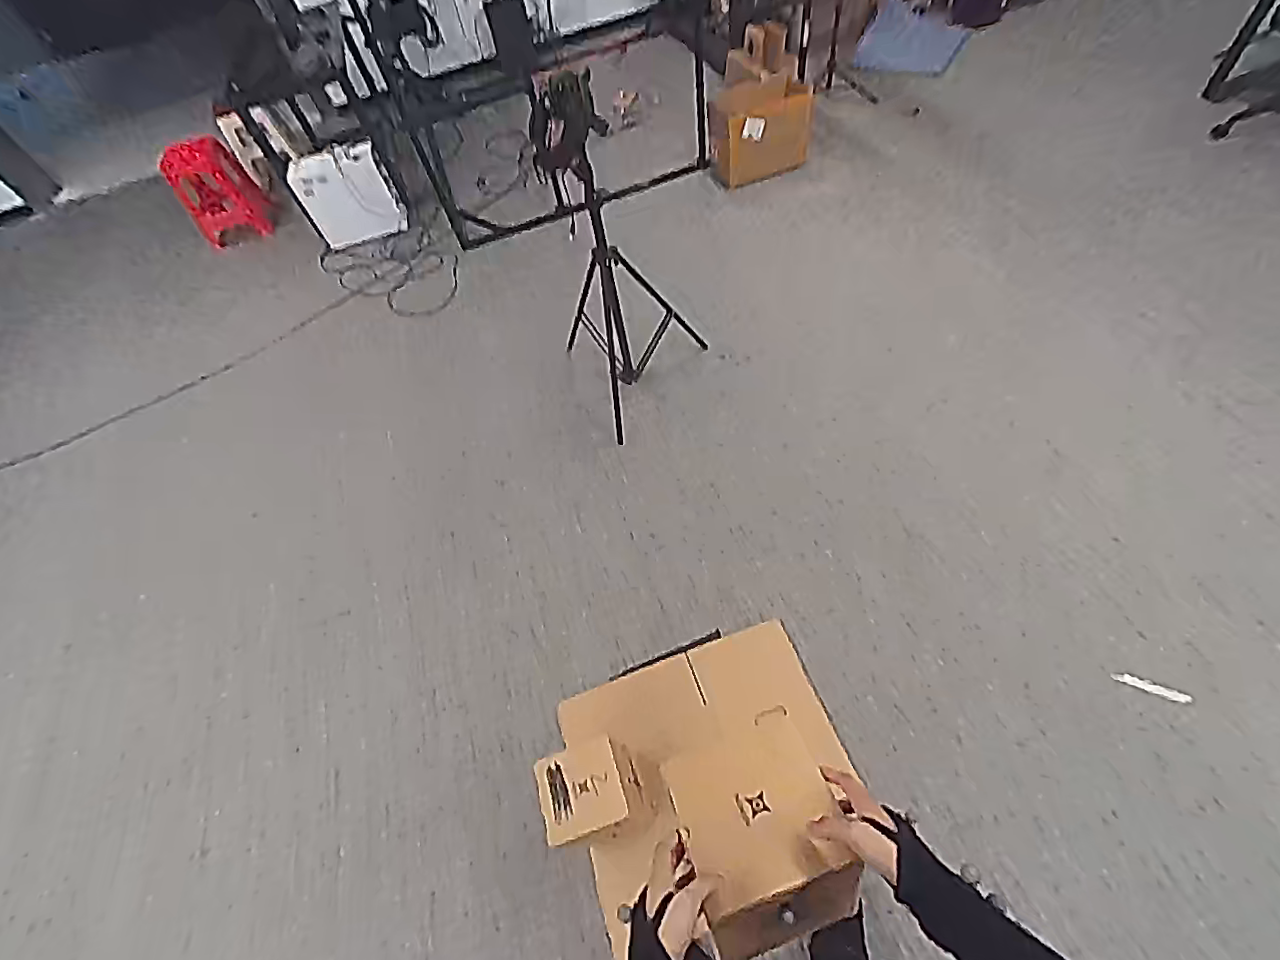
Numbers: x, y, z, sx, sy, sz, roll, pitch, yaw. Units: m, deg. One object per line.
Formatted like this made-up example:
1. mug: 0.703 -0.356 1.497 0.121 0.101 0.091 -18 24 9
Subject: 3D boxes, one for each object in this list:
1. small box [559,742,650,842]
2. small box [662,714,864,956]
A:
1. small box: -0.082 0.771 1.339 0.179 0.176 0.168 -21 56 -3
2. small box: 0.141 0.425 0.652 0.179 0.176 0.168 -18 36 -7
